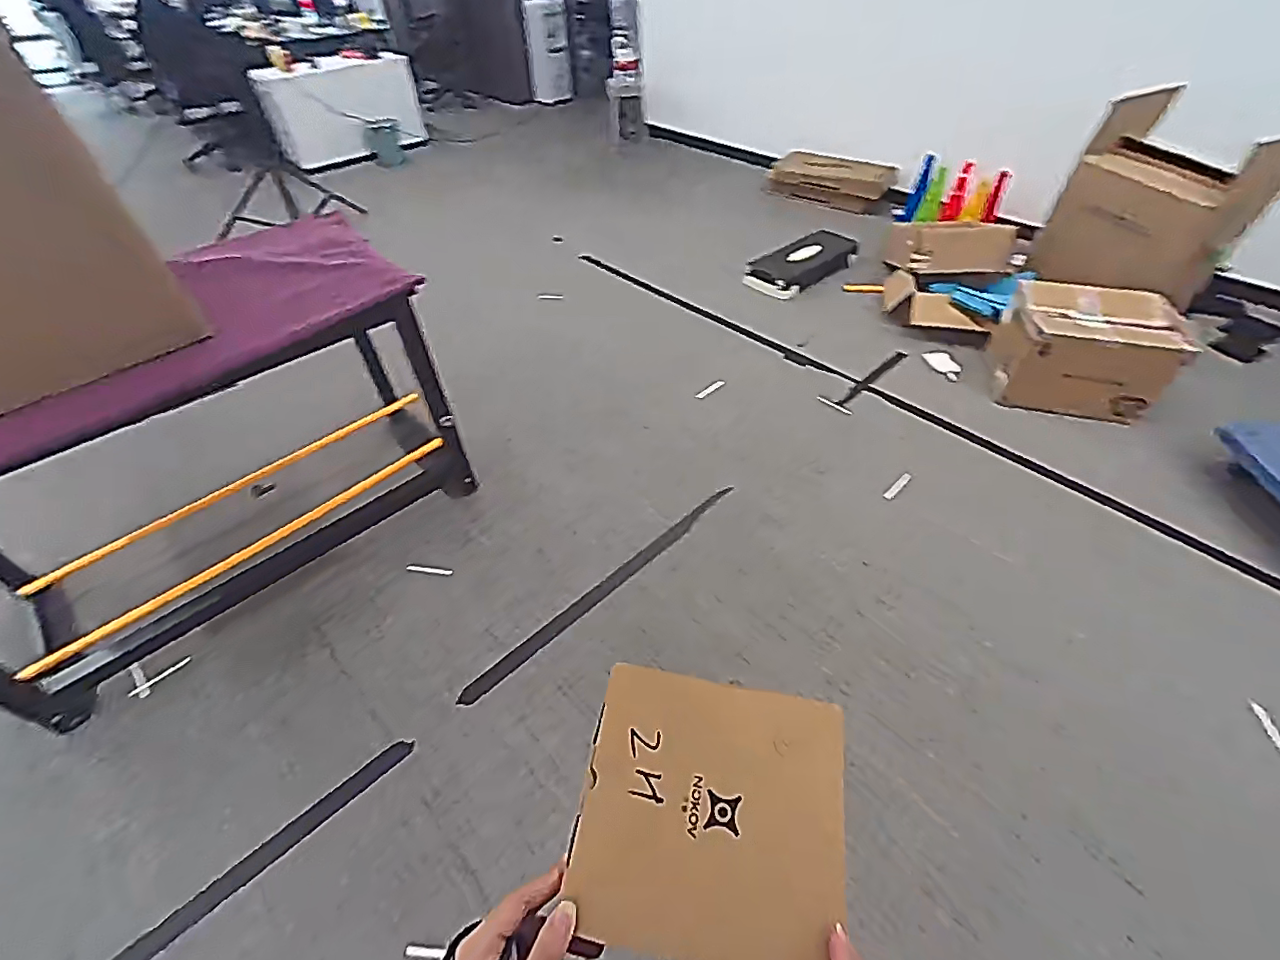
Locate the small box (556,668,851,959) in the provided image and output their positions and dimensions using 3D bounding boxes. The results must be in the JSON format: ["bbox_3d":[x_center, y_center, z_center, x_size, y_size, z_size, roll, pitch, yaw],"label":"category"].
[{"bbox_3d":[0.052,0.267,0.424,0.179,0.176,0.168,7,54,9],"label":"small box"}]
